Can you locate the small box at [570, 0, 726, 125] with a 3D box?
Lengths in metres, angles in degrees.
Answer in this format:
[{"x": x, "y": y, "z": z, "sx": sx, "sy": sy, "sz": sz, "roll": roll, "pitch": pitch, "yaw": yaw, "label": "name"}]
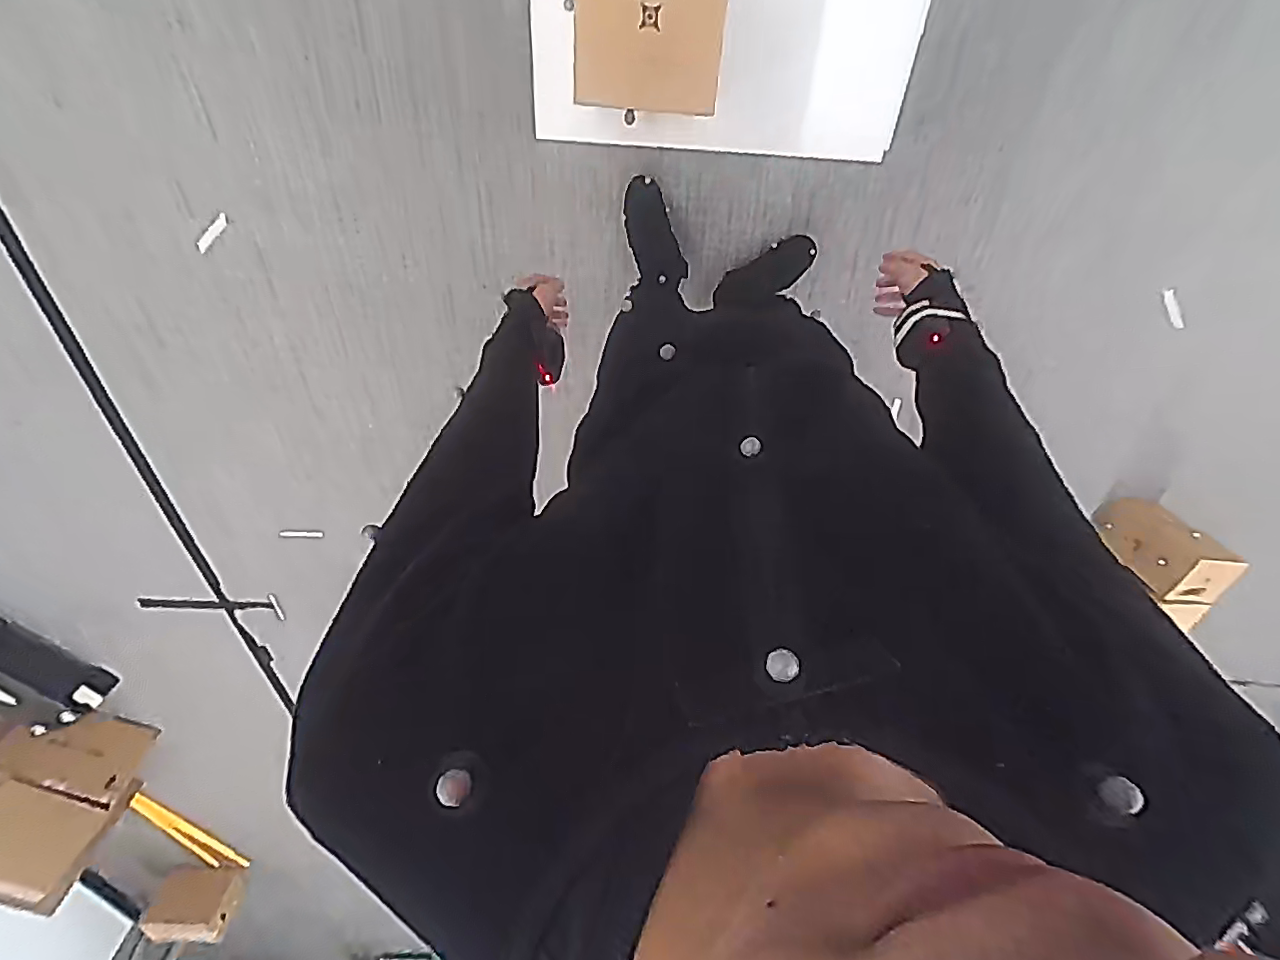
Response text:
[{"x": 0.006, "y": -0.536, "z": 0.646, "sx": 0.168, "sy": 0.176, "sz": 0.179, "roll": 3, "pitch": 123, "yaw": -3, "label": "small box"}]
